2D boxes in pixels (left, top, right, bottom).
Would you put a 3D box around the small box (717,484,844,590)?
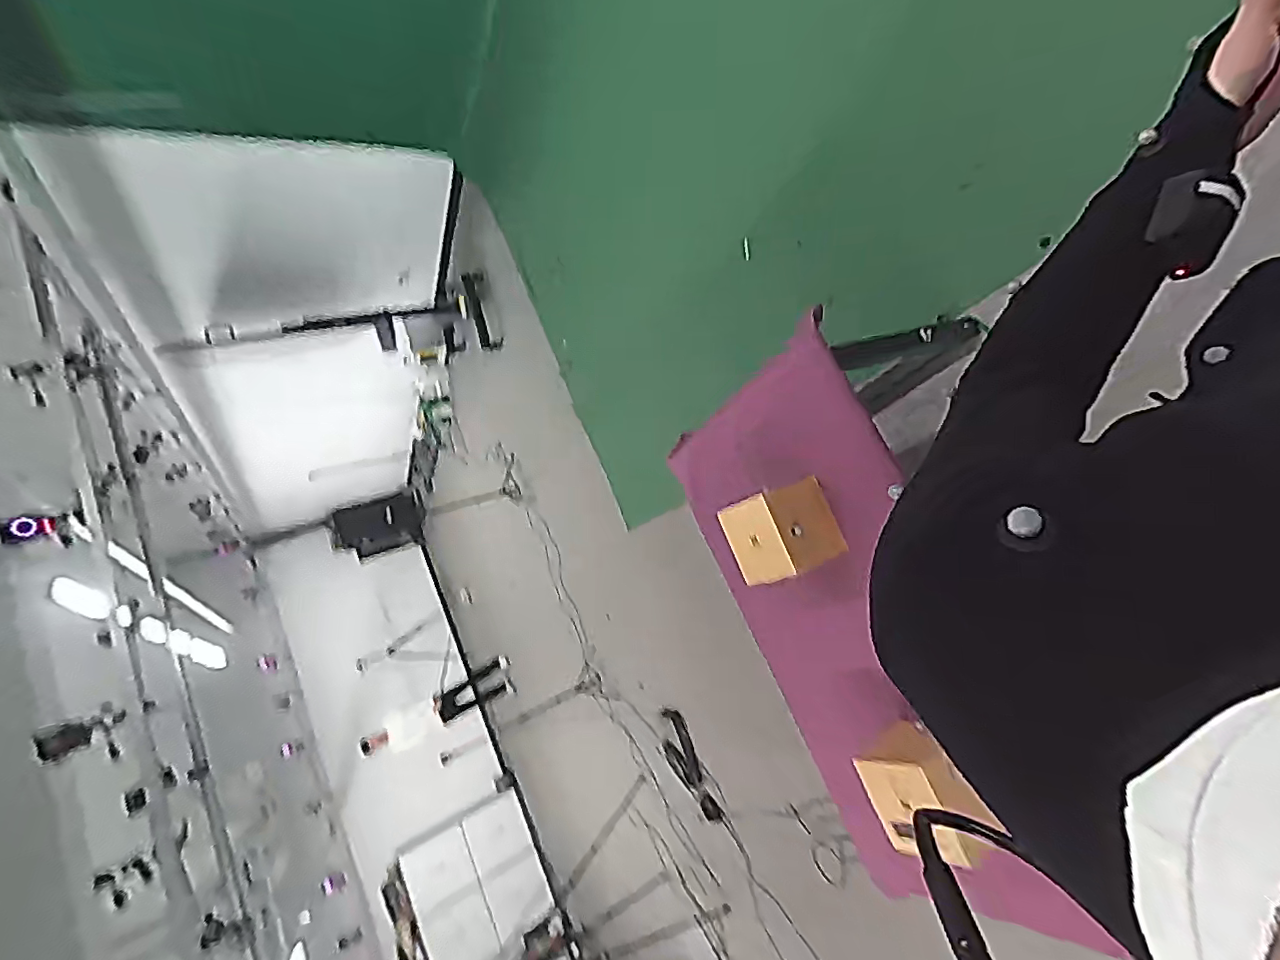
[{"bbox_3d":[0.307,0.120,1.187,0.168,0.176,0.179,-34,77,56],"label":"small box"}]
